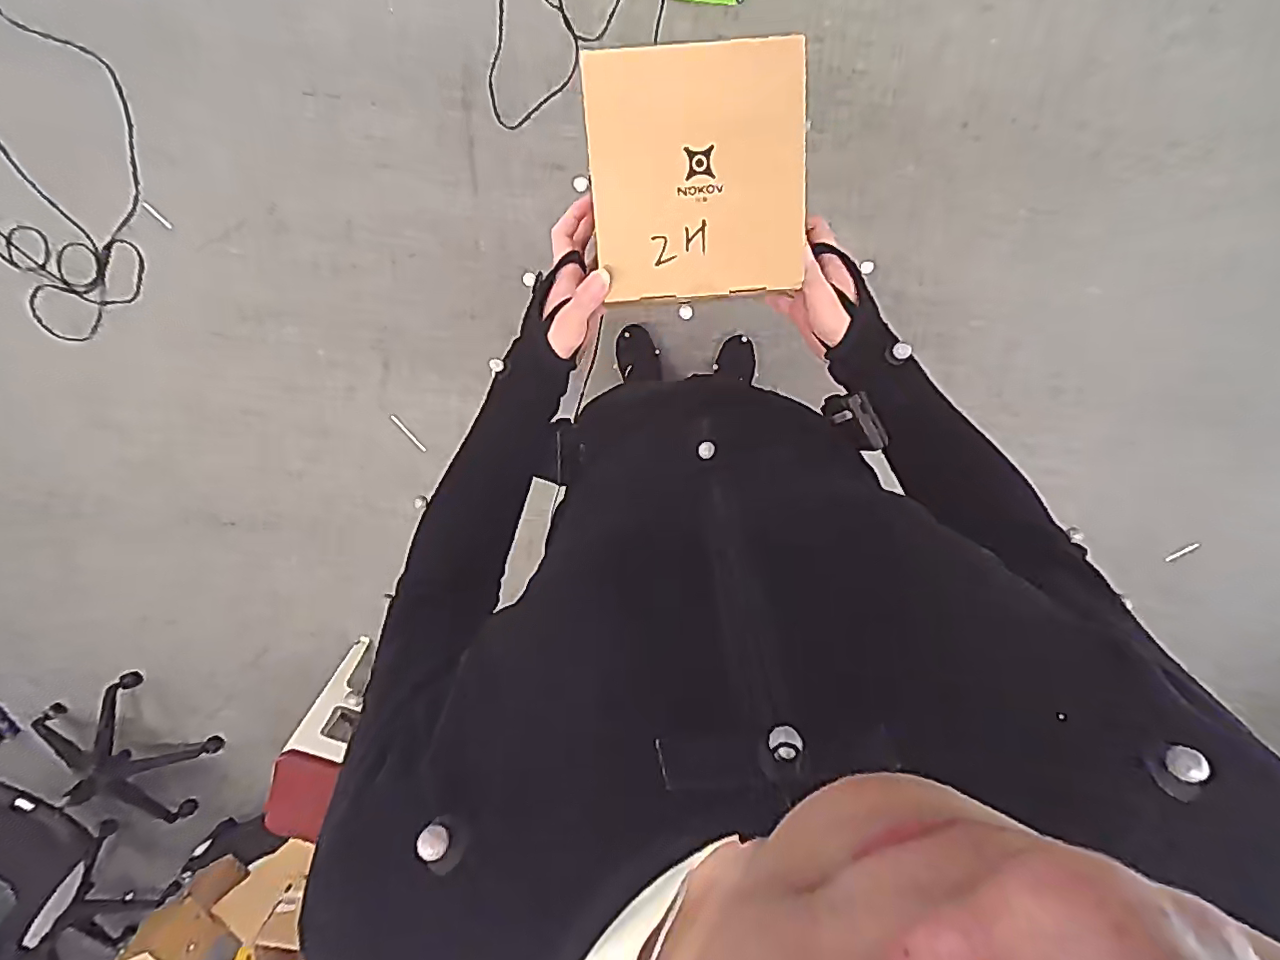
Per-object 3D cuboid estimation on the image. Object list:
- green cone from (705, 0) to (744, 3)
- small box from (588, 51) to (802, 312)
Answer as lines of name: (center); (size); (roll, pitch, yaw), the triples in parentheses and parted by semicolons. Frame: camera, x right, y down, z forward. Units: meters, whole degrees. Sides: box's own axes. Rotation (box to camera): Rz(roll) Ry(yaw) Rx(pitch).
green cone: (0.163, -1.204, 1.110); (0.202, 0.368, 0.200); (7, 106, 1)
small box: (0.041, -0.254, 0.501); (0.168, 0.176, 0.179); (-4, 106, -1)
